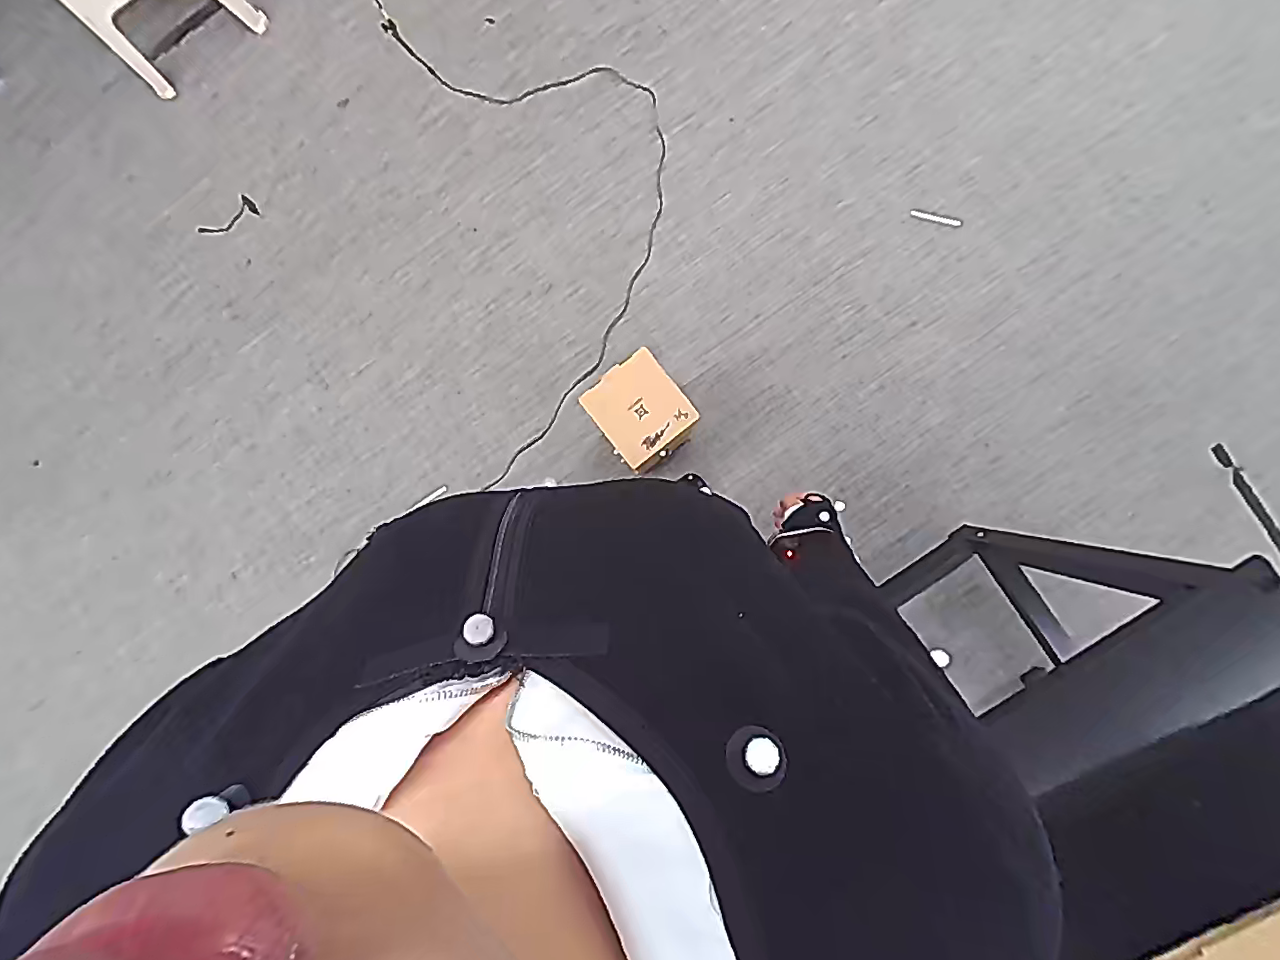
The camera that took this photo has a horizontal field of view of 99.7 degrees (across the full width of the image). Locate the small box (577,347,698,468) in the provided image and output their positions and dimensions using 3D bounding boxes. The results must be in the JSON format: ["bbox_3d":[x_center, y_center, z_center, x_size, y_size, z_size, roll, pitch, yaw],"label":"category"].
[{"bbox_3d":[-0.003,-0.136,1.099,0.168,0.176,0.179,-38,88,2],"label":"small box"}]

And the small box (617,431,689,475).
[{"bbox_3d":[0.010,-0.129,1.424,0.179,0.176,0.168,-38,88,3],"label":"small box"}]
